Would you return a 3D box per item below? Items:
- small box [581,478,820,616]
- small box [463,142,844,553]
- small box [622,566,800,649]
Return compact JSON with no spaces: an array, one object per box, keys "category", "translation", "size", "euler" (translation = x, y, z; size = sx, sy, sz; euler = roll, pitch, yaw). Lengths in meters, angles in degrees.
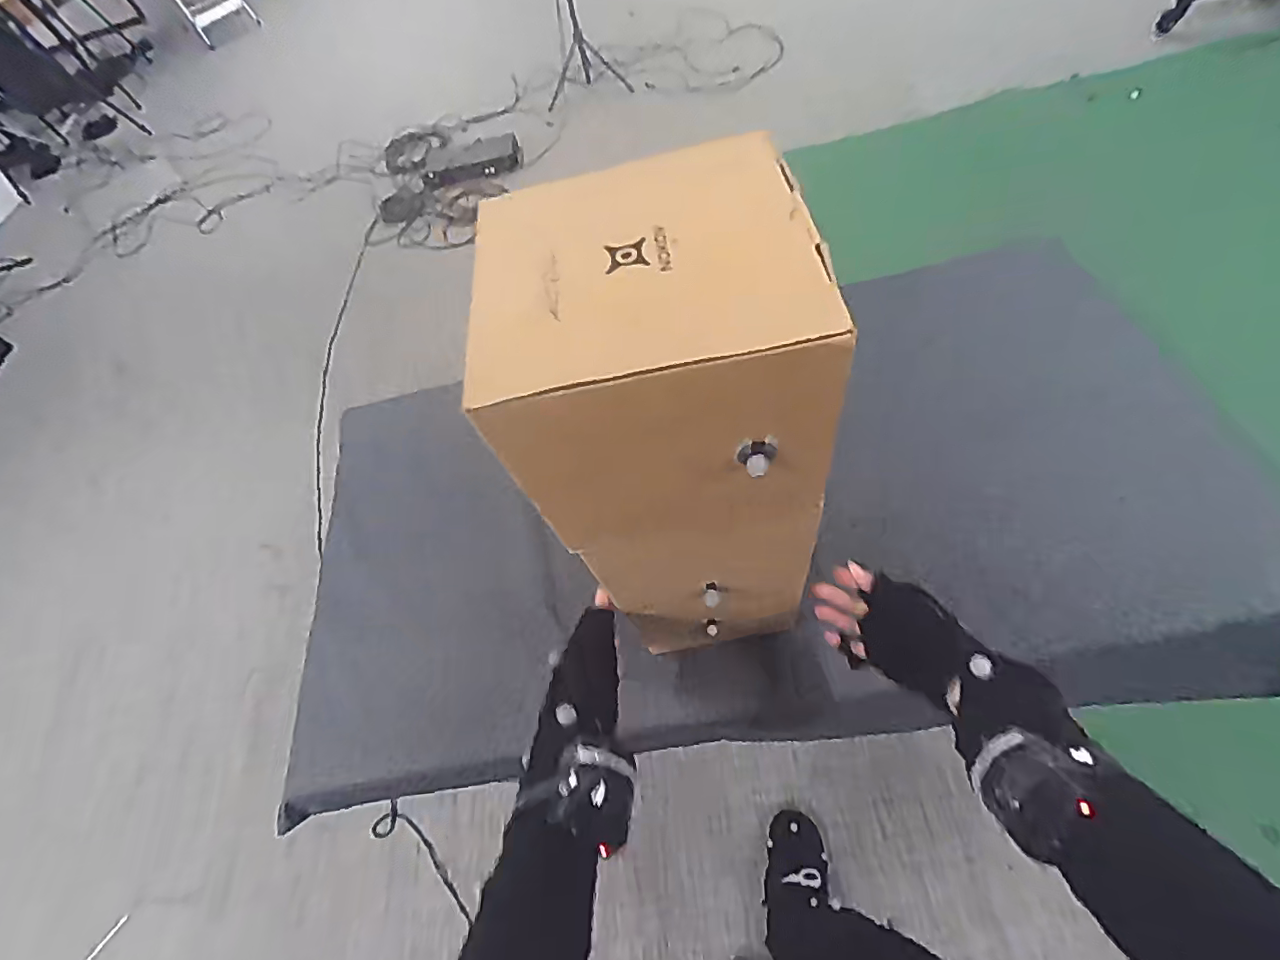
[{"category":"small box","translation":[0.043,0.009,0.489],"size":[0.179,0.176,0.168],"euler":[-14,59,5]},{"category":"small box","translation":[0.010,-0.070,0.347],"size":[0.179,0.176,0.168],"euler":[-12,57,7]},{"category":"small box","translation":[0.073,0.086,0.627],"size":[0.179,0.176,0.168],"euler":[-12,58,6]}]
